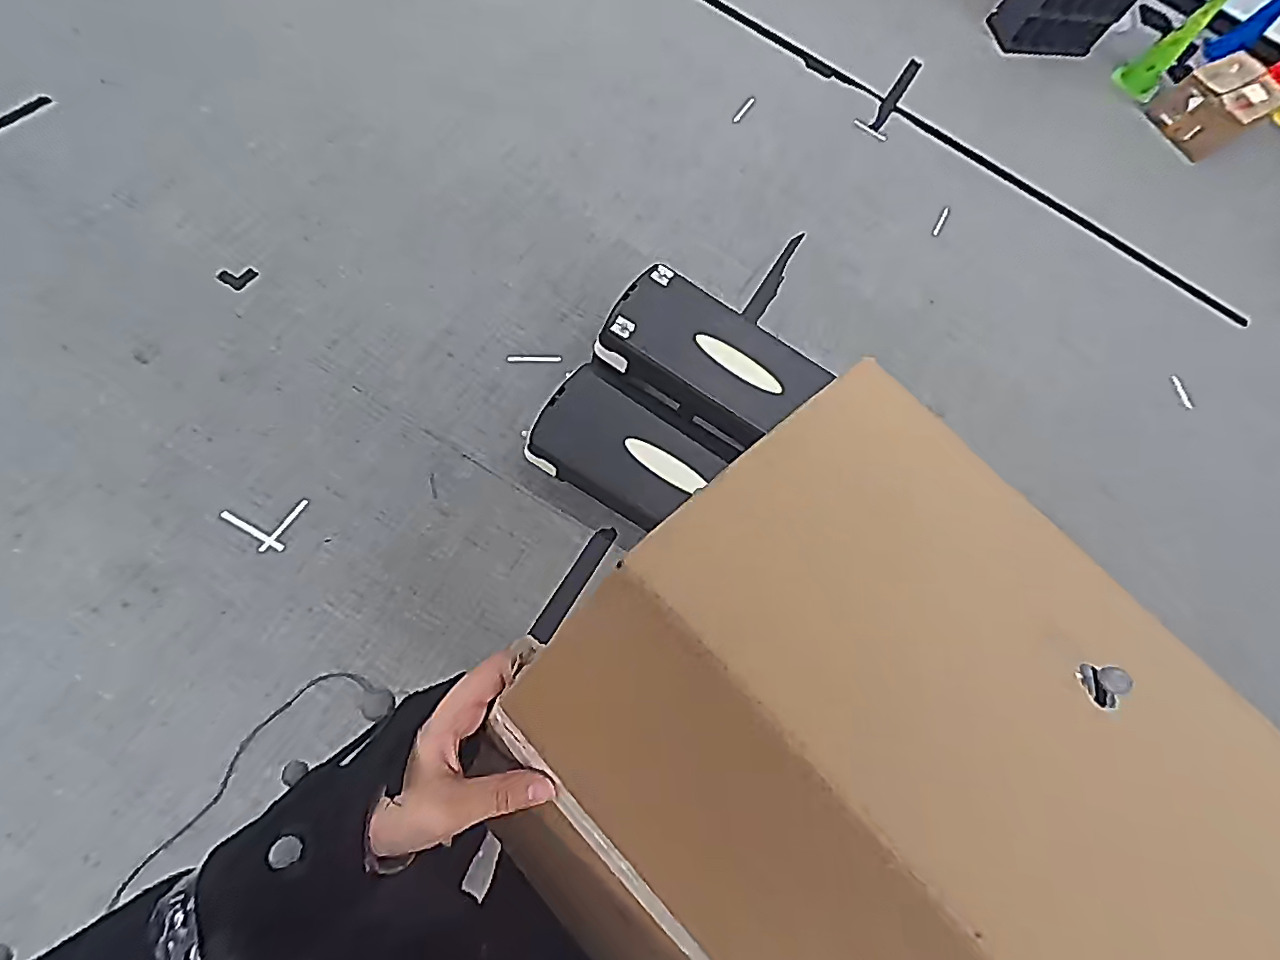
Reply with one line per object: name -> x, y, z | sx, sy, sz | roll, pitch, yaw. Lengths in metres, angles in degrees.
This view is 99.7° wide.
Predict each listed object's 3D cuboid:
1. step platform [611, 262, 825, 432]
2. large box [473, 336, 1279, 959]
step platform -> 0.260, -0.252, 1.398 | 0.684, 0.204, 0.286 | 39, 68, 2
large box -> 0.168, 0.172, 0.359 | 0.408, 0.320, 0.320 | 45, 44, 9
